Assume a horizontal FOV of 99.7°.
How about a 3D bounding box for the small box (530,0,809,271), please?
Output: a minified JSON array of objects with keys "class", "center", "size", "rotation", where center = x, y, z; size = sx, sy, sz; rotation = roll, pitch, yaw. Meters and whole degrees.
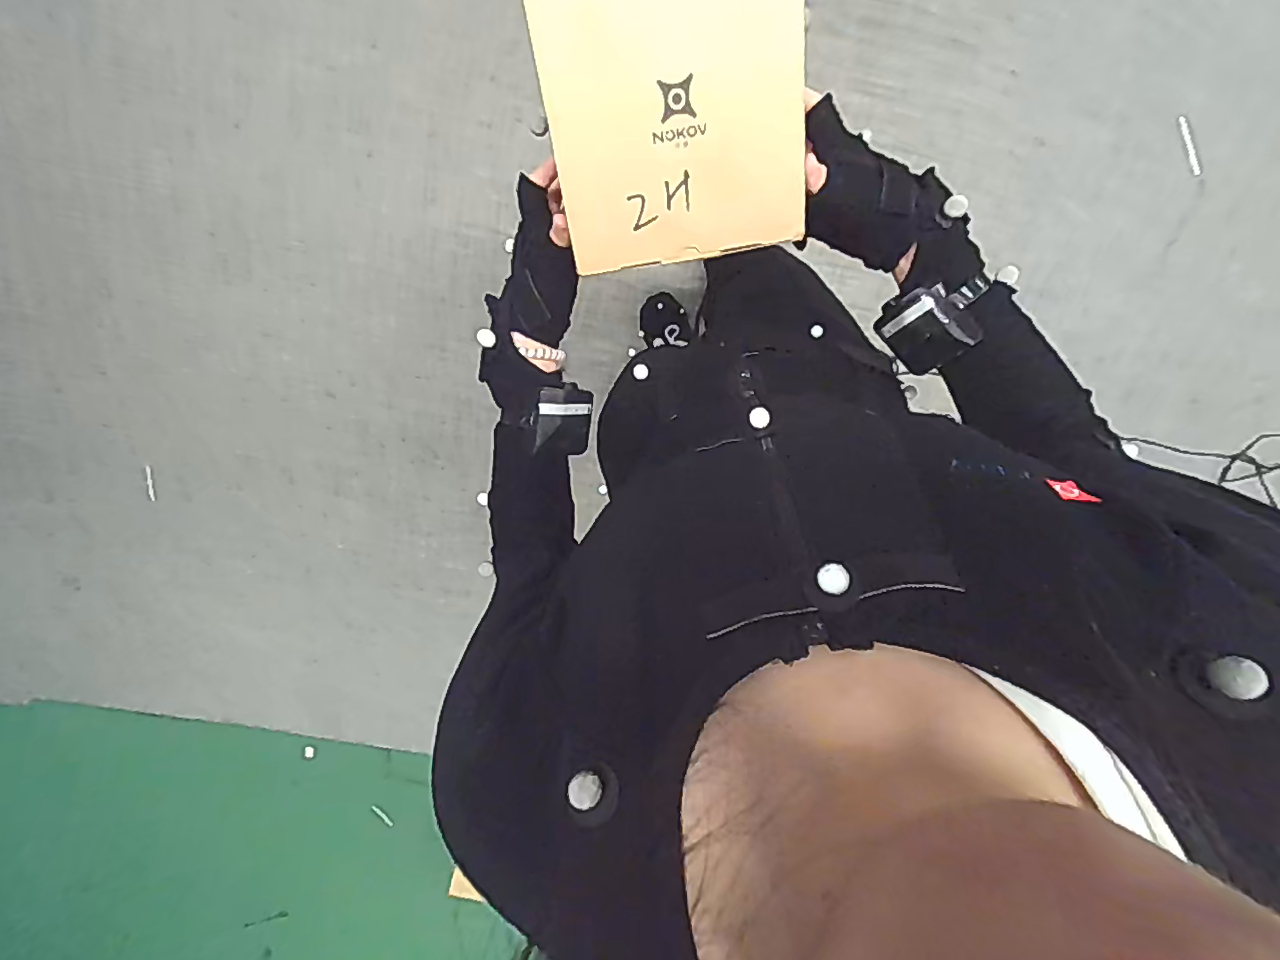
[{"class":"small box","center":[0.019,-0.270,0.409],"size":[0.168,0.176,0.179],"rotation":[-8,119,2]}]
